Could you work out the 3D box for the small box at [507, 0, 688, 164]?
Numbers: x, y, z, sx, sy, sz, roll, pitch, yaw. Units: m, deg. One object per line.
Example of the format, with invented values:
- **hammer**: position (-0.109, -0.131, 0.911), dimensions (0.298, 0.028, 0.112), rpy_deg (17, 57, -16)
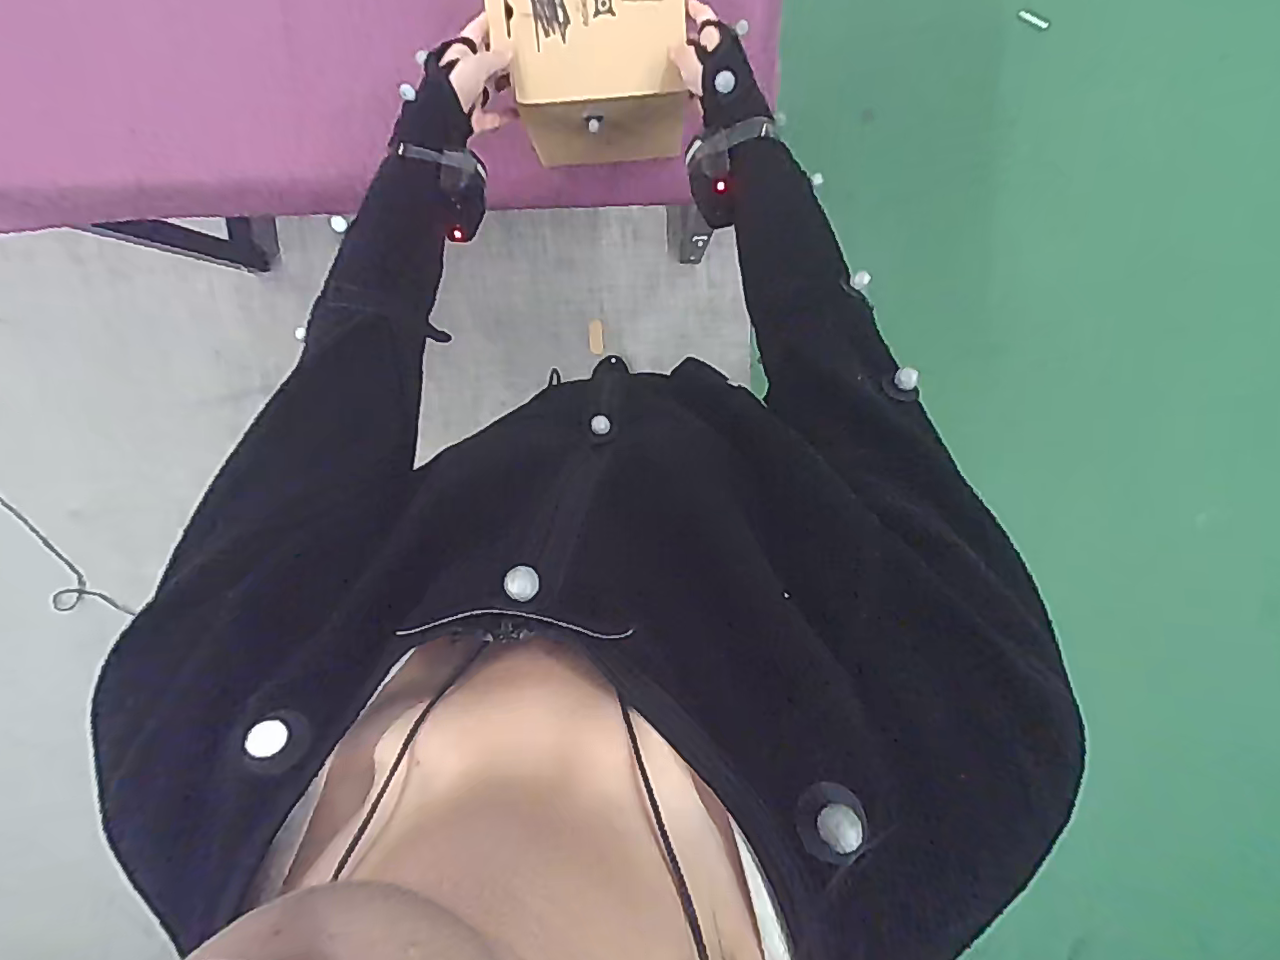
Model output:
- **small box**: position (-0.041, -0.472, 0.601), dimensions (0.179, 0.176, 0.168), rpy_deg (-3, 101, 1)
